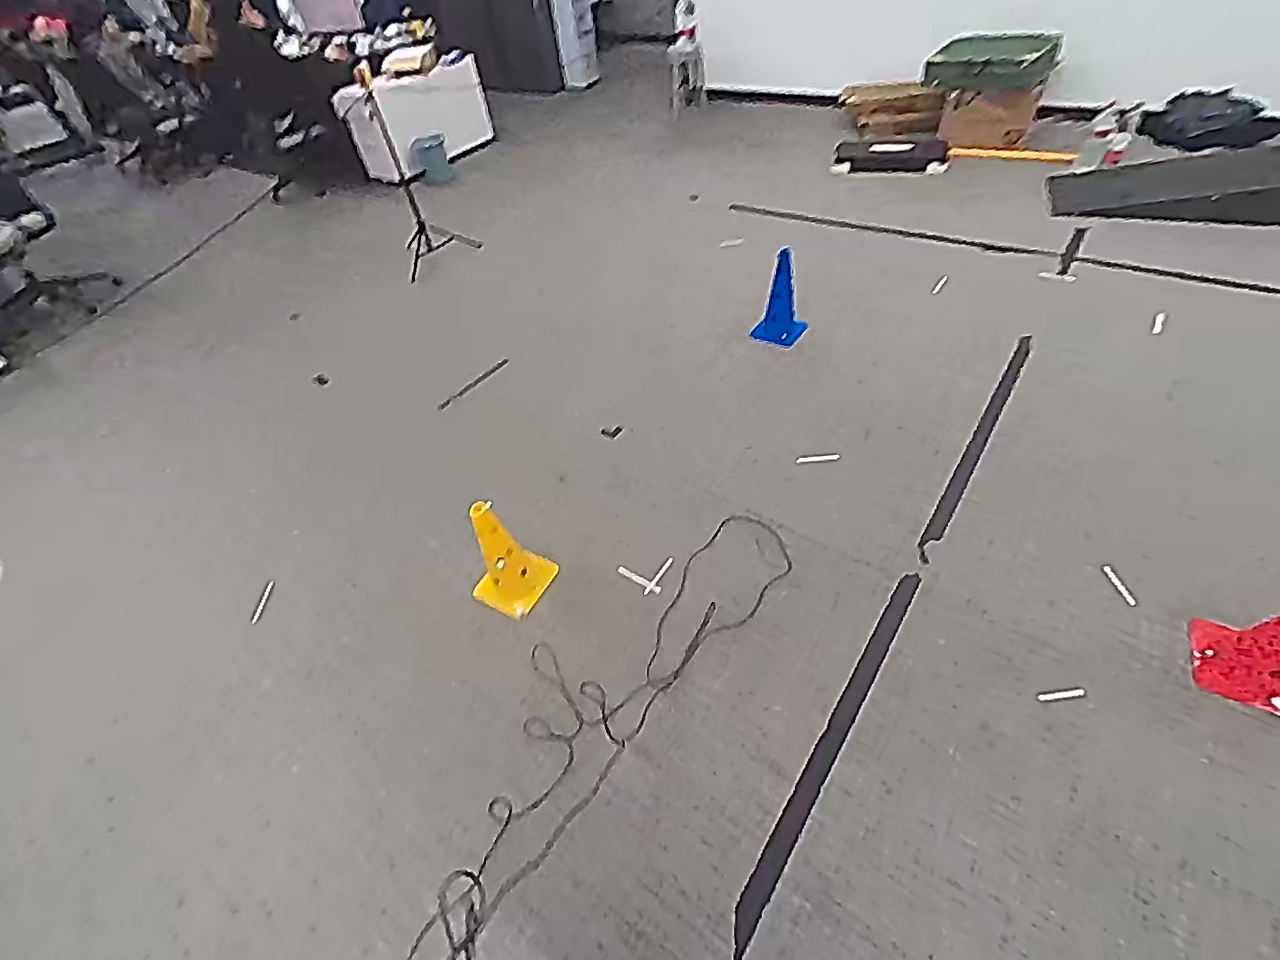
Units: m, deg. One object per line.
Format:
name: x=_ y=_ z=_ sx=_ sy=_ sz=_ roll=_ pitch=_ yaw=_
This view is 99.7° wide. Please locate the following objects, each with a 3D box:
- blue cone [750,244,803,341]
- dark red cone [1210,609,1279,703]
blue cone: x=0.575 y=-0.776 z=2.225 sx=0.192 sy=0.380 sz=0.193 roll=25 pitch=57 yaw=29
dark red cone: x=1.391 y=0.296 z=1.092 sx=0.201 sy=0.394 sz=0.202 roll=18 pitch=53 yaw=24
